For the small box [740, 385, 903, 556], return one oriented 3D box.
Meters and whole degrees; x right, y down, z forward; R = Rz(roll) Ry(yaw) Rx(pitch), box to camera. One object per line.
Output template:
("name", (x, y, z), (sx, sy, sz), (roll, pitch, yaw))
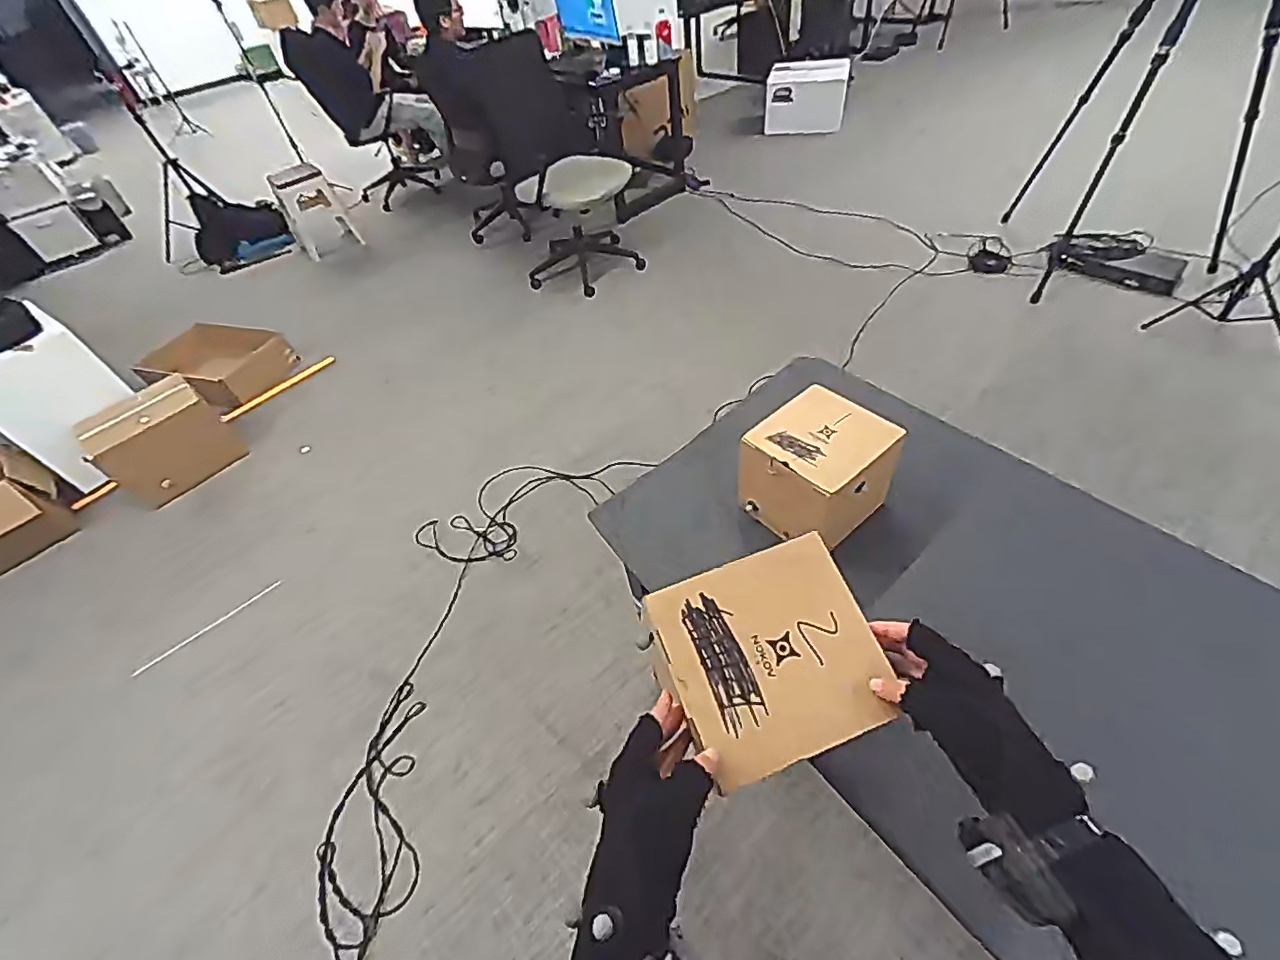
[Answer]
("small box", (0.277, -0.012, 0.856), (0.179, 0.176, 0.168), (-35, 53, -21))
